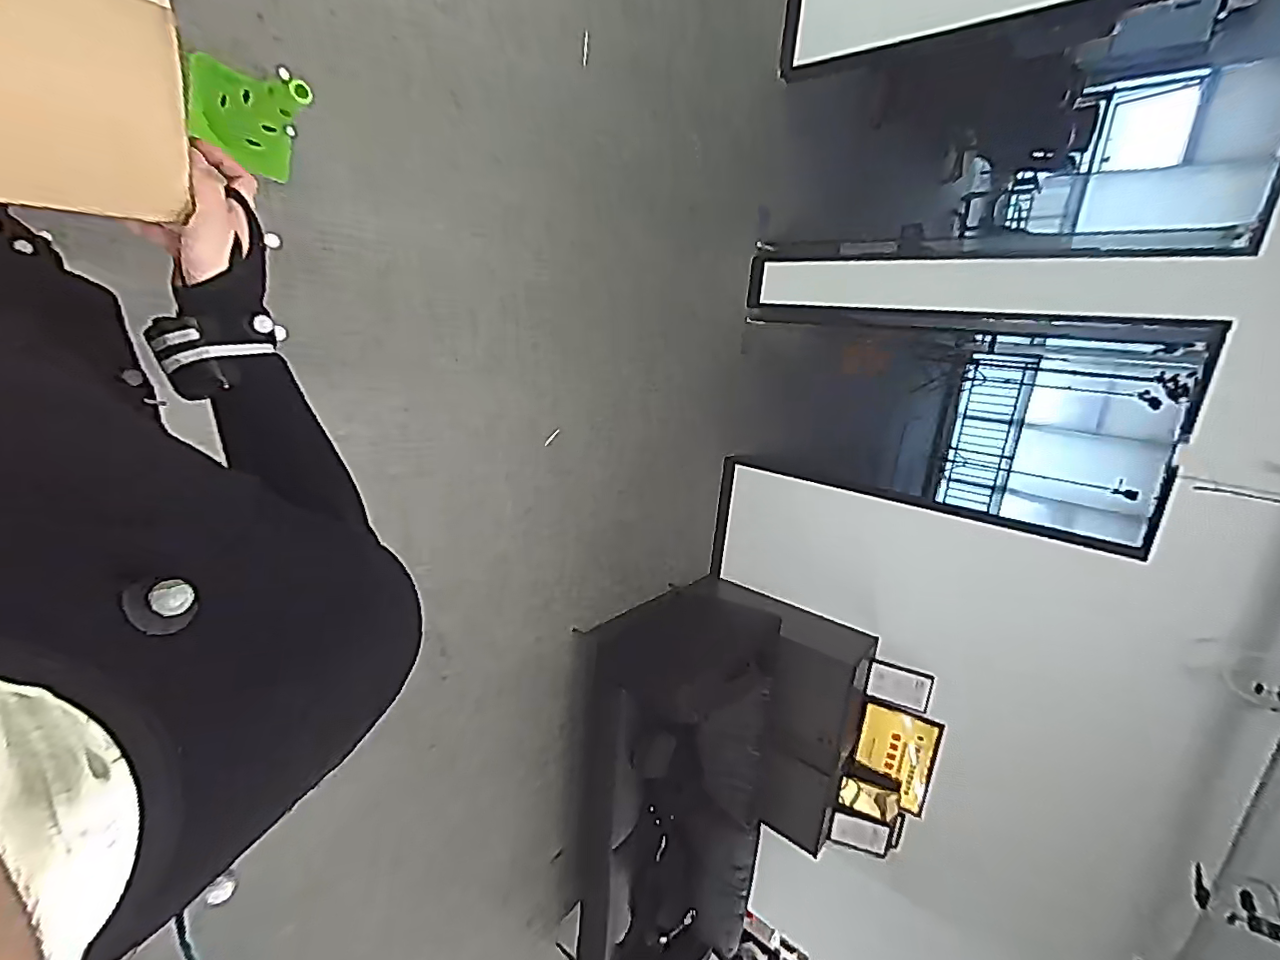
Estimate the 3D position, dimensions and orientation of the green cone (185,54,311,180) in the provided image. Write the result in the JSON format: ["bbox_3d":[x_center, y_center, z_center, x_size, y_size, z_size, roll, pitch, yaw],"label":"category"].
[{"bbox_3d":[-0.792,-0.796,1.150,0.200,0.368,0.202,-3,104,-53],"label":"green cone"}]
